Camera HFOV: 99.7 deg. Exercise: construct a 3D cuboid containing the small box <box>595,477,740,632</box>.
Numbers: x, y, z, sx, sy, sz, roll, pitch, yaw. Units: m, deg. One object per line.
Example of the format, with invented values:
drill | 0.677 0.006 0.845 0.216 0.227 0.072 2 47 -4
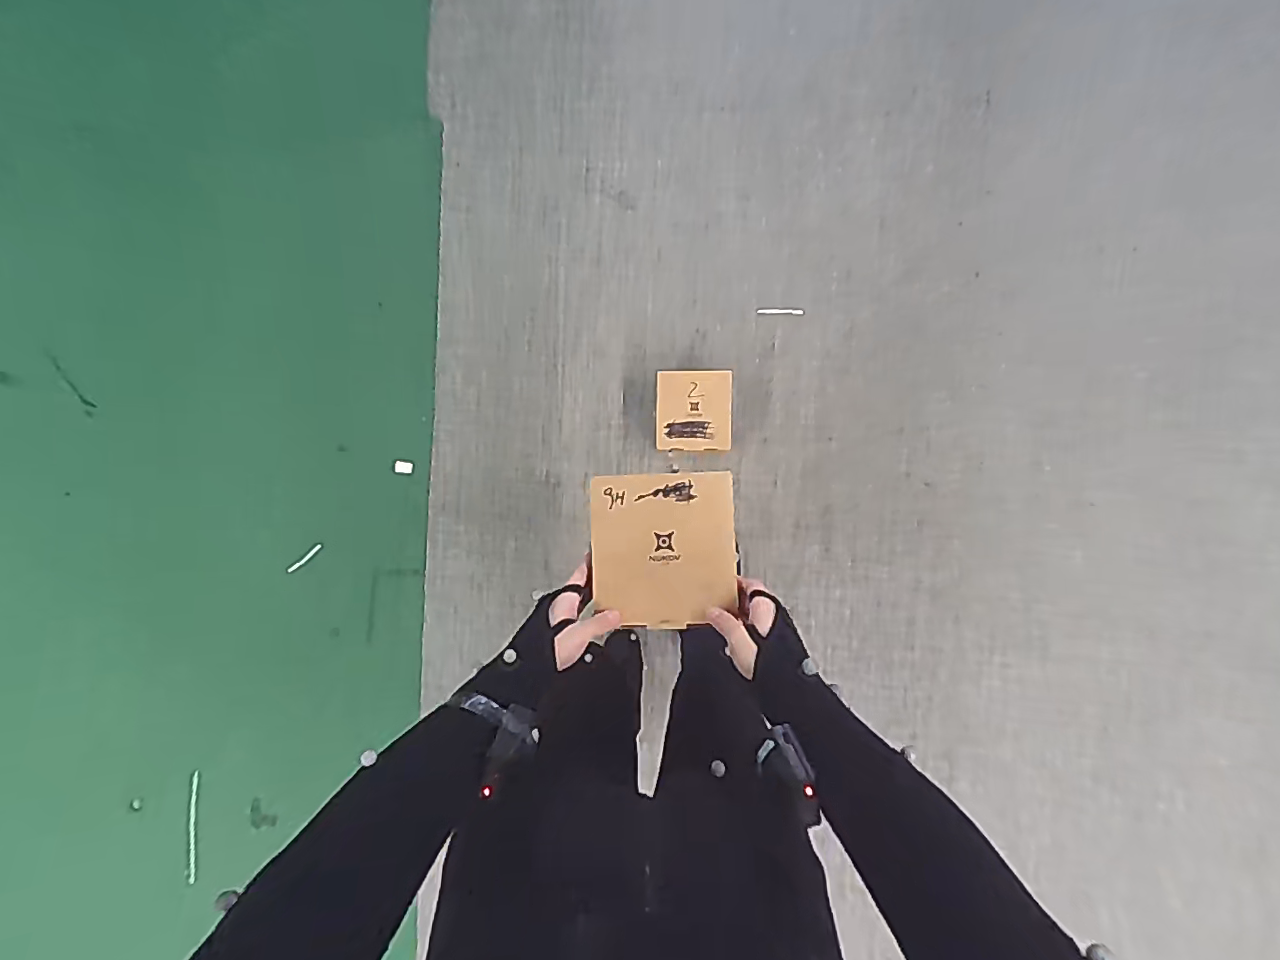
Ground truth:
small box | 0.035 0.088 0.698 0.168 0.176 0.179 -2 87 1
